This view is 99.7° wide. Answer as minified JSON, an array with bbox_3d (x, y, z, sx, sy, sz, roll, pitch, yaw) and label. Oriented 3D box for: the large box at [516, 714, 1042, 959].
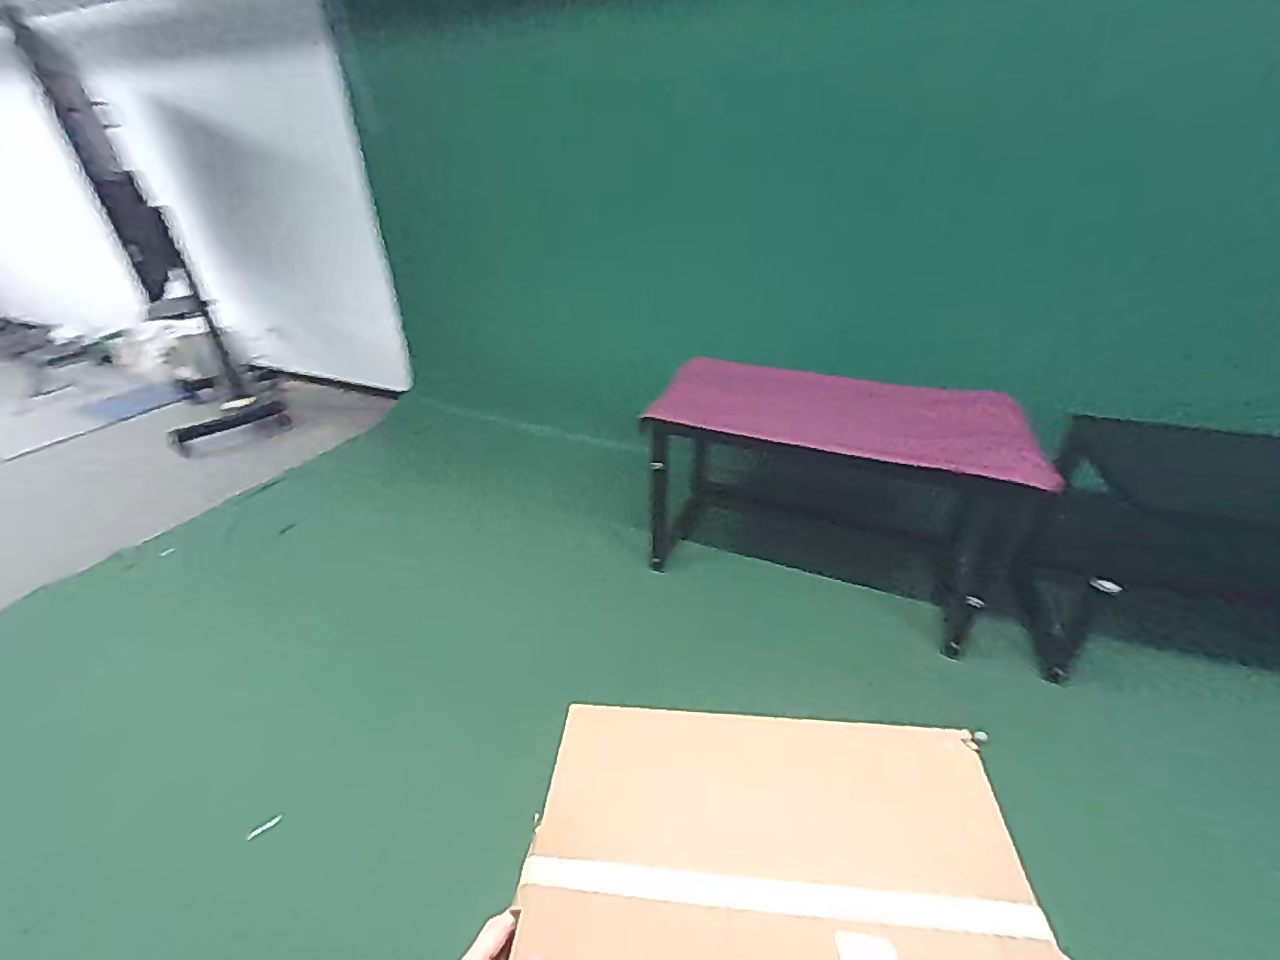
[{"bbox_3d":[0.111,0.464,0.525,0.408,0.320,0.320,1,35,6],"label":"large box"}]
